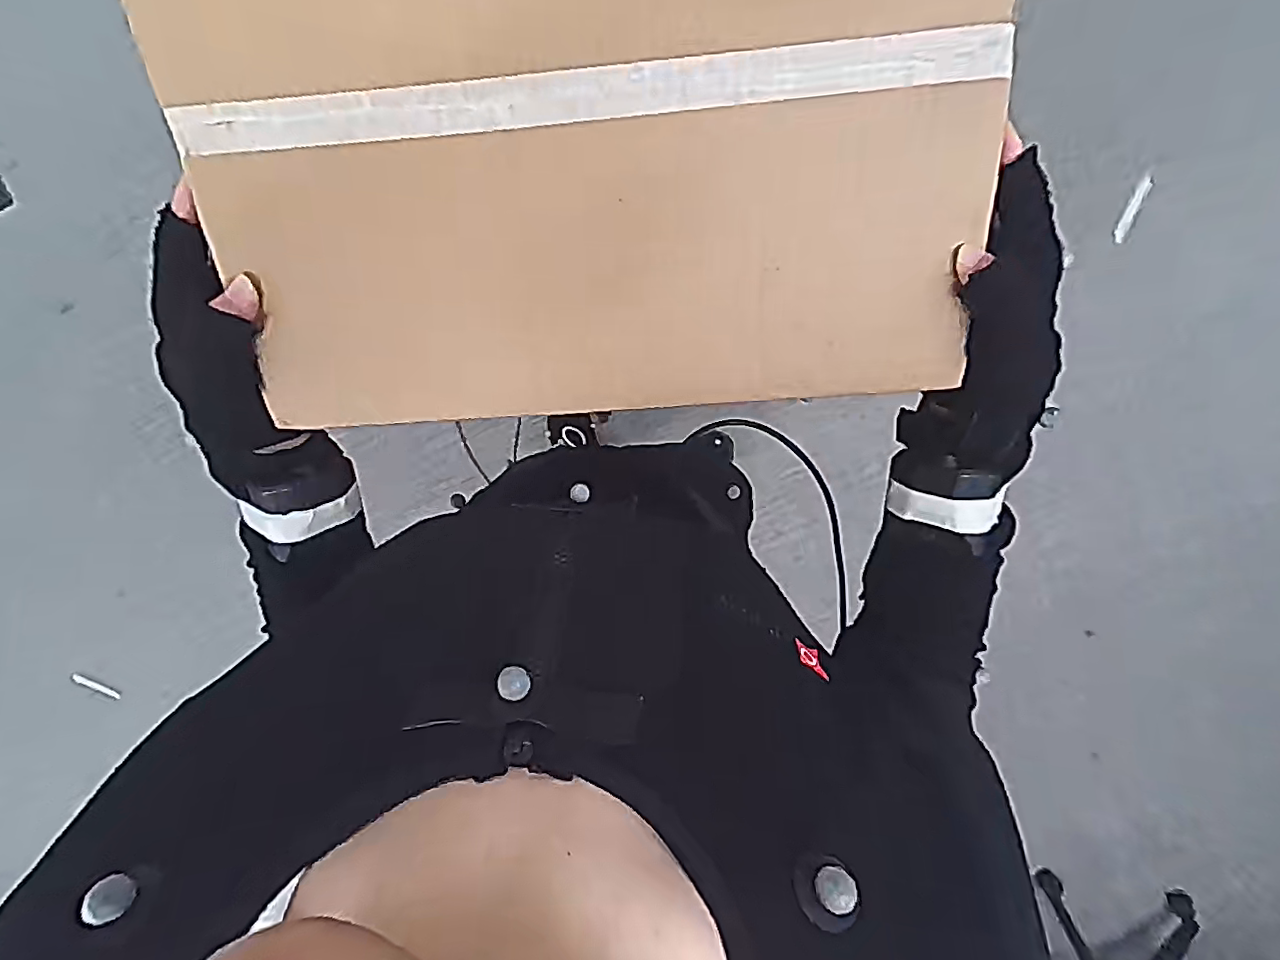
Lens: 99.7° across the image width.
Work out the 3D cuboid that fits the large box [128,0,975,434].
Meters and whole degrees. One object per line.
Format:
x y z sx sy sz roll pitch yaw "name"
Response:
-0.035 -0.244 0.408 0.408 0.320 0.320 -4 112 3 "large box"
